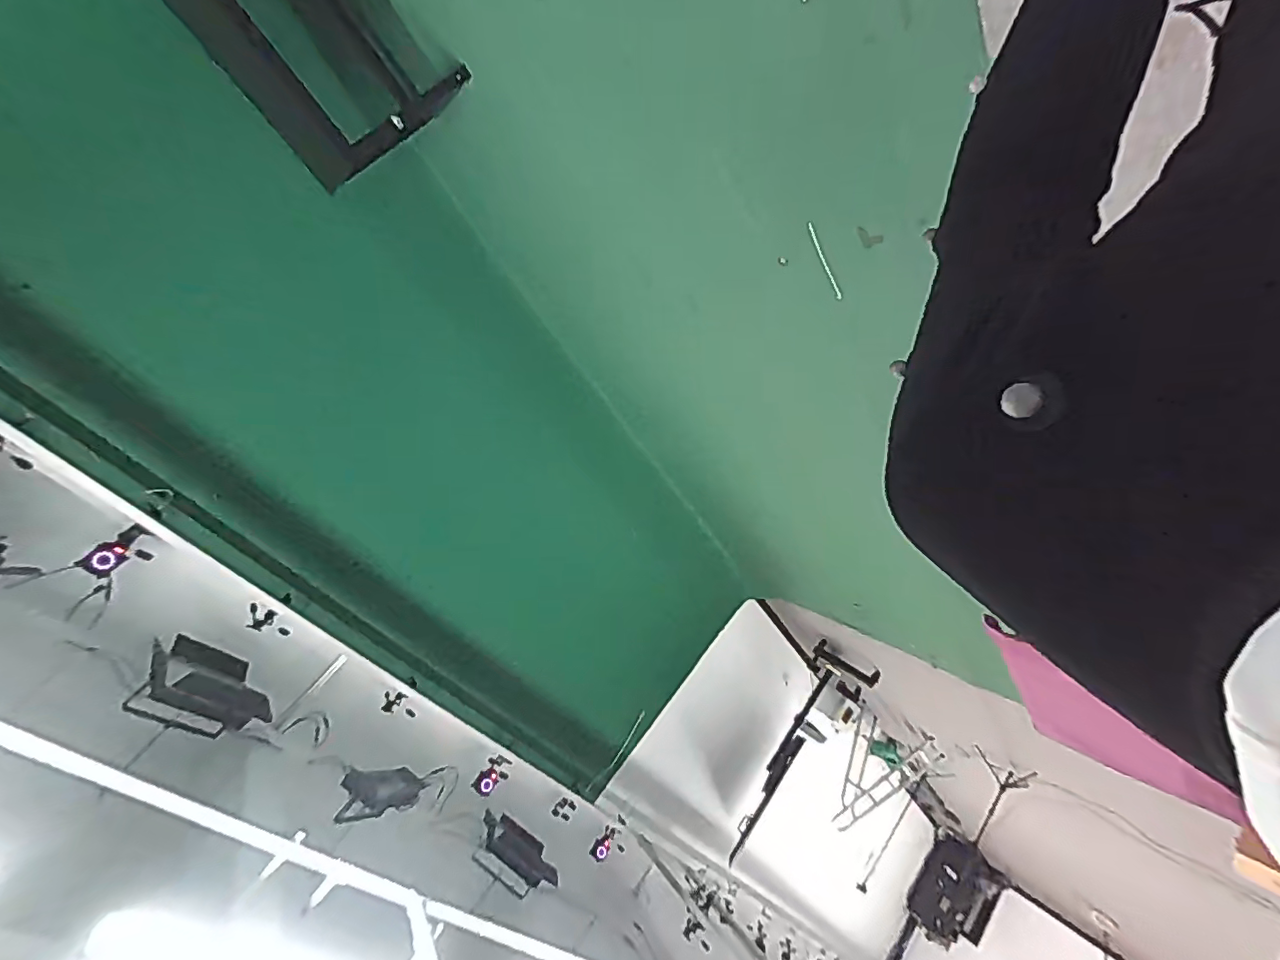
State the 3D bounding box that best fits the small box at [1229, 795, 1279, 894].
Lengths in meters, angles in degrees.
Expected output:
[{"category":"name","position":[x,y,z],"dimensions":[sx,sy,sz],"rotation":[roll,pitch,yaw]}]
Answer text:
[{"category":"small box","position":[1.677,0.968,1.405],"dimensions":[0.168,0.176,0.179],"rotation":[15,148,55]}]
